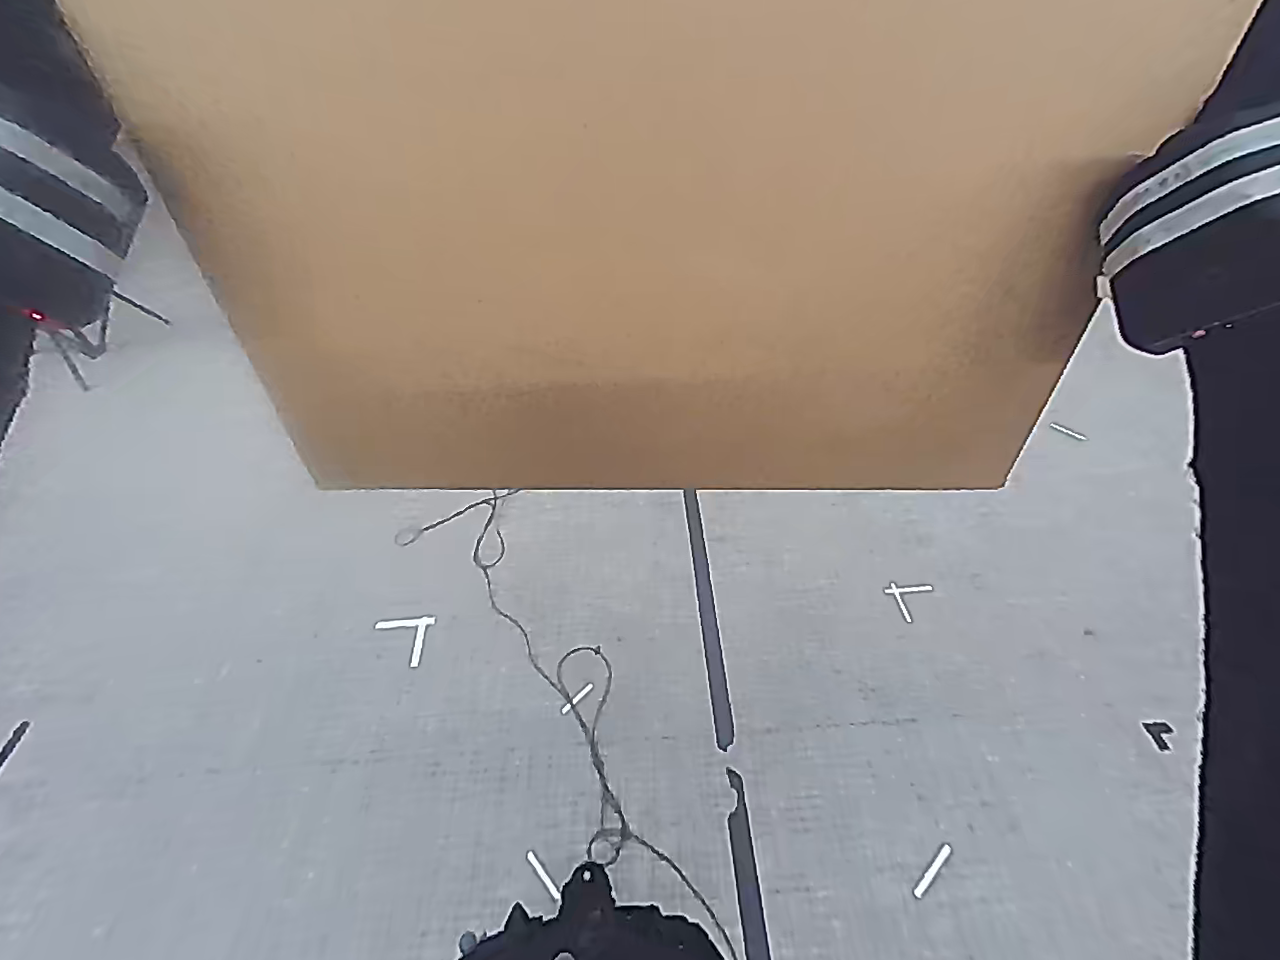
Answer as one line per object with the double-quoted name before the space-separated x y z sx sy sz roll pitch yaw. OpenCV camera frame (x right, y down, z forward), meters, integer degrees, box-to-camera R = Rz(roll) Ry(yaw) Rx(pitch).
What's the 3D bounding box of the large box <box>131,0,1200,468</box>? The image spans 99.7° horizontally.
"large box" 0.009 -0.216 0.353 0.408 0.320 0.320 0 40 1
